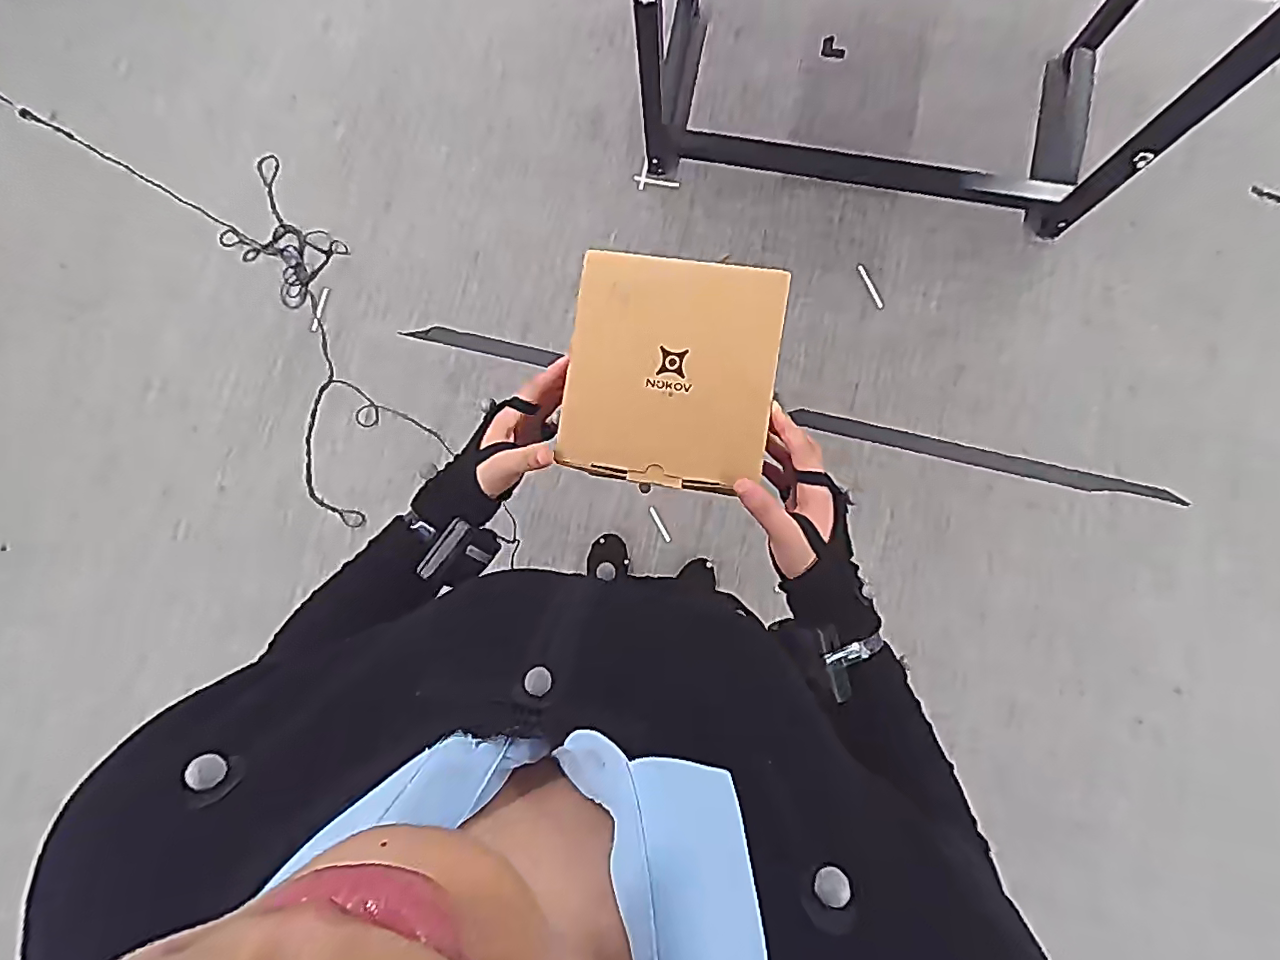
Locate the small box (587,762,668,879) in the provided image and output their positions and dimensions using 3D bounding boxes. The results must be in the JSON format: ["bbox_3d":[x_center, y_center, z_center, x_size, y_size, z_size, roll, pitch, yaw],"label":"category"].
[{"bbox_3d":[-0.024,0.813,1.313,0.168,0.176,0.179,8,84,5],"label":"small box"}]
